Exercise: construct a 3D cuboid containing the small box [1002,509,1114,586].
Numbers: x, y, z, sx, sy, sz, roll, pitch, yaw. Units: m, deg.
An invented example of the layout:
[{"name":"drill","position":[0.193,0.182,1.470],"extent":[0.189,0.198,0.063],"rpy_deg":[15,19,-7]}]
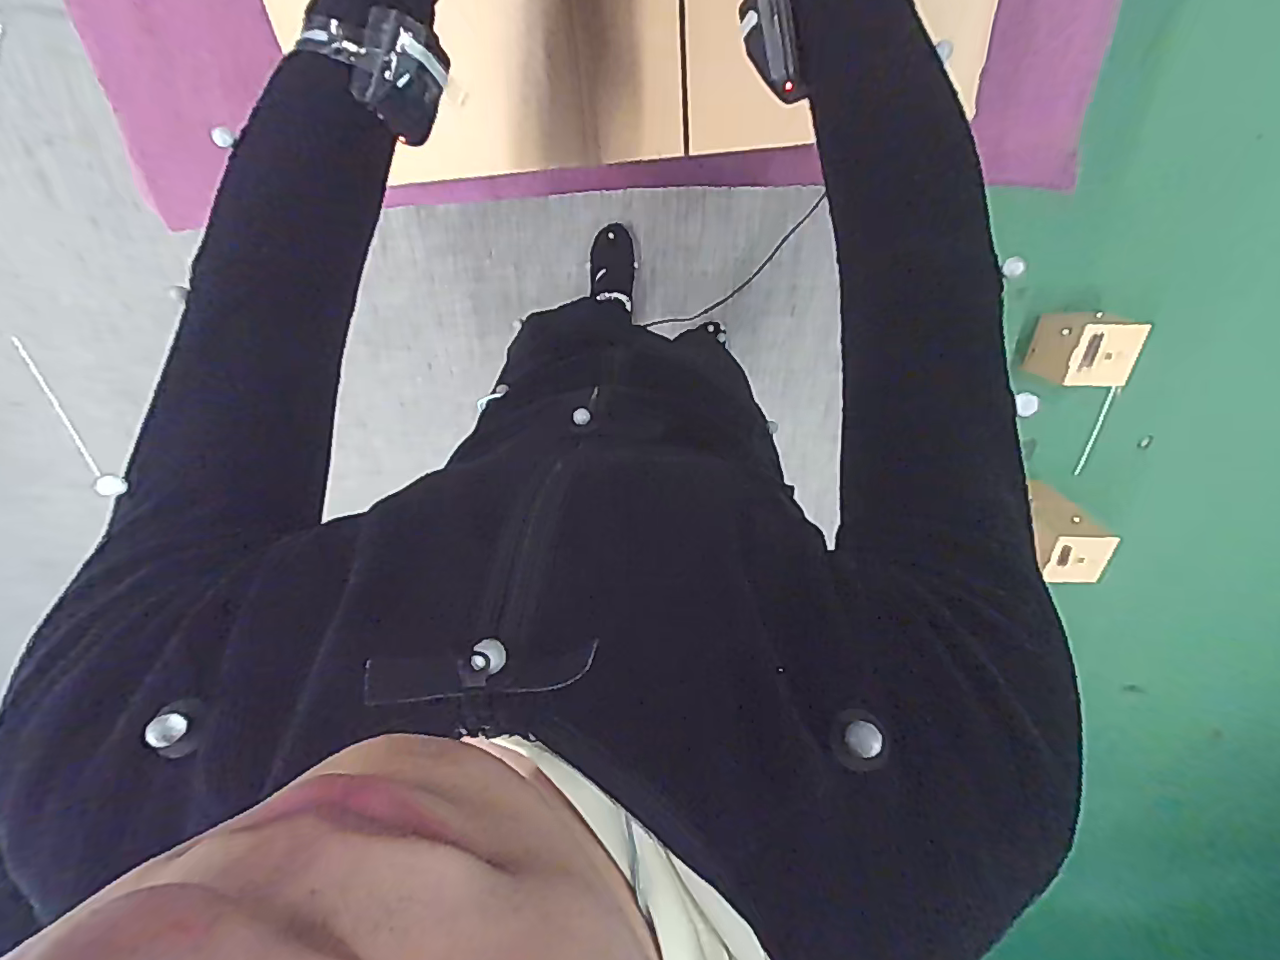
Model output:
[{"name":"small box","position":[1.235,0.197,1.615],"extent":[0.179,0.176,0.168],"rpy_deg":[1,120,-2]}]
